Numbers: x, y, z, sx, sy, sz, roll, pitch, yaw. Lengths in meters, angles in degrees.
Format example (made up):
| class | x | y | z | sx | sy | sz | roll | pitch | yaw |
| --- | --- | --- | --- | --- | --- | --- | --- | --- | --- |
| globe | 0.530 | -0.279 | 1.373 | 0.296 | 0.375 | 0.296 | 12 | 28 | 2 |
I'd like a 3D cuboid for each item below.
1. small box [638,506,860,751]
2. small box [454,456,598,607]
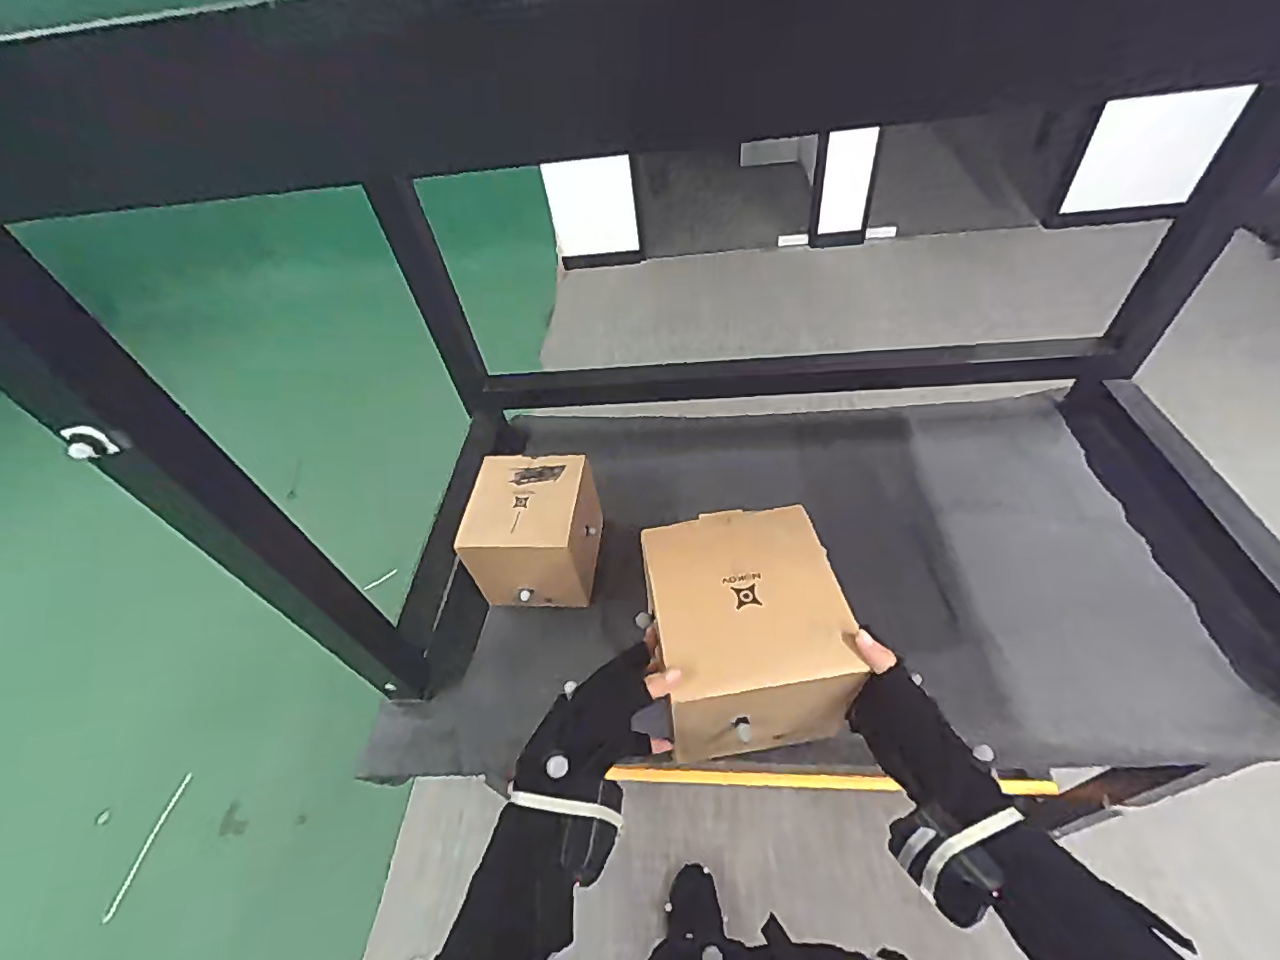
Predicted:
| class | x | y | z | sx | sy | sz | roll | pitch | yaw |
| --- | --- | --- | --- | --- | --- | --- | --- | --- | --- |
| small box | 0.094 | 0.154 | 0.543 | 0.168 | 0.176 | 0.179 | -8 | 46 | -2 |
| small box | -0.164 | 0.080 | 0.852 | 0.168 | 0.176 | 0.179 | -1 | 49 | 8 |
